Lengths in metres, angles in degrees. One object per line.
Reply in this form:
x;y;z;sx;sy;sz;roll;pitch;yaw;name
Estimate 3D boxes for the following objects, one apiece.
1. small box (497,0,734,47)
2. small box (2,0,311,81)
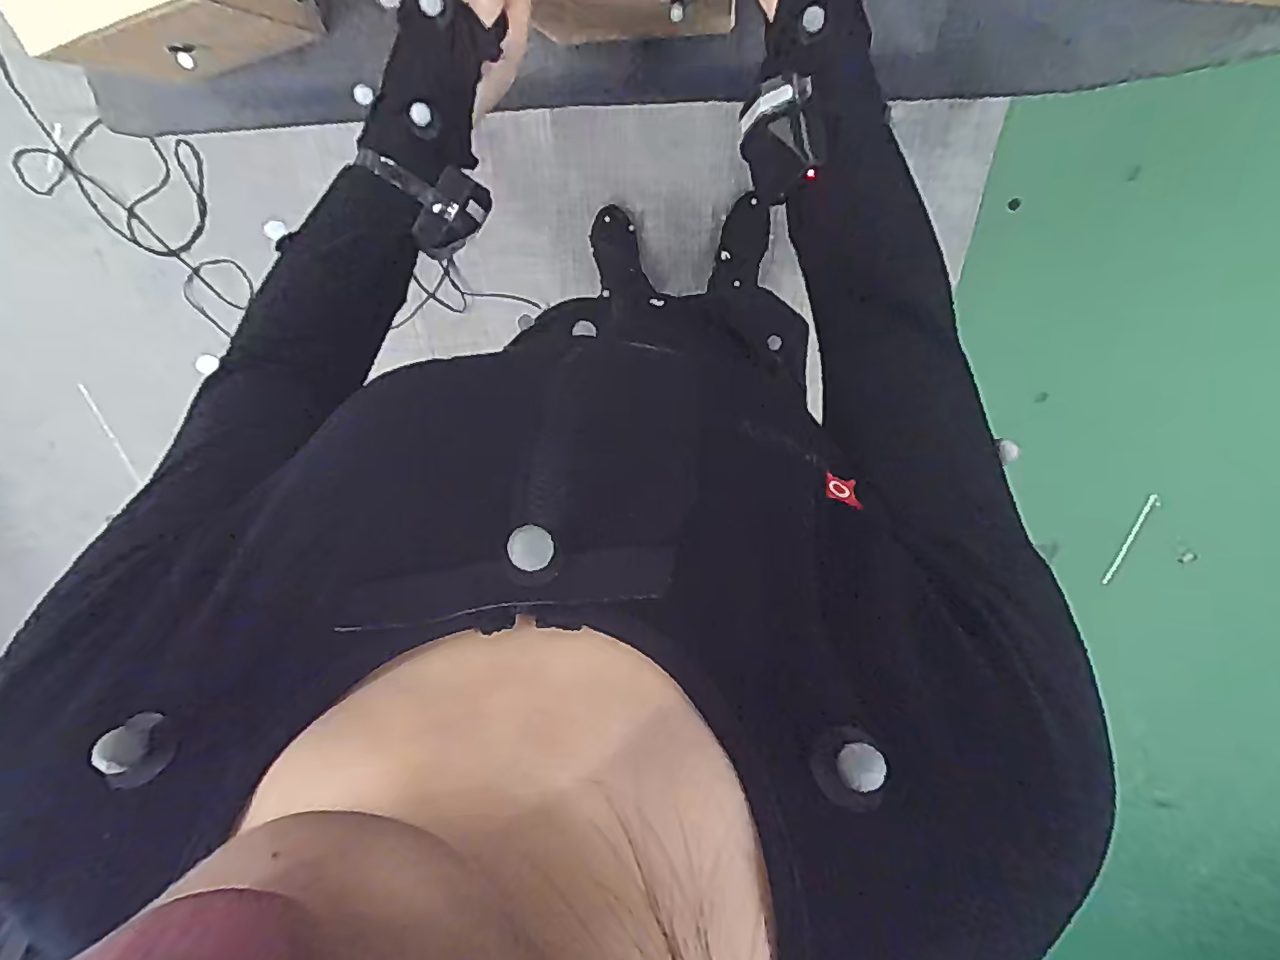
-0.012;-0.455;0.416;0.179;0.176;0.168;2;120;8;small box
-0.425;-0.468;0.464;0.179;0.176;0.168;-7;120;12;small box
